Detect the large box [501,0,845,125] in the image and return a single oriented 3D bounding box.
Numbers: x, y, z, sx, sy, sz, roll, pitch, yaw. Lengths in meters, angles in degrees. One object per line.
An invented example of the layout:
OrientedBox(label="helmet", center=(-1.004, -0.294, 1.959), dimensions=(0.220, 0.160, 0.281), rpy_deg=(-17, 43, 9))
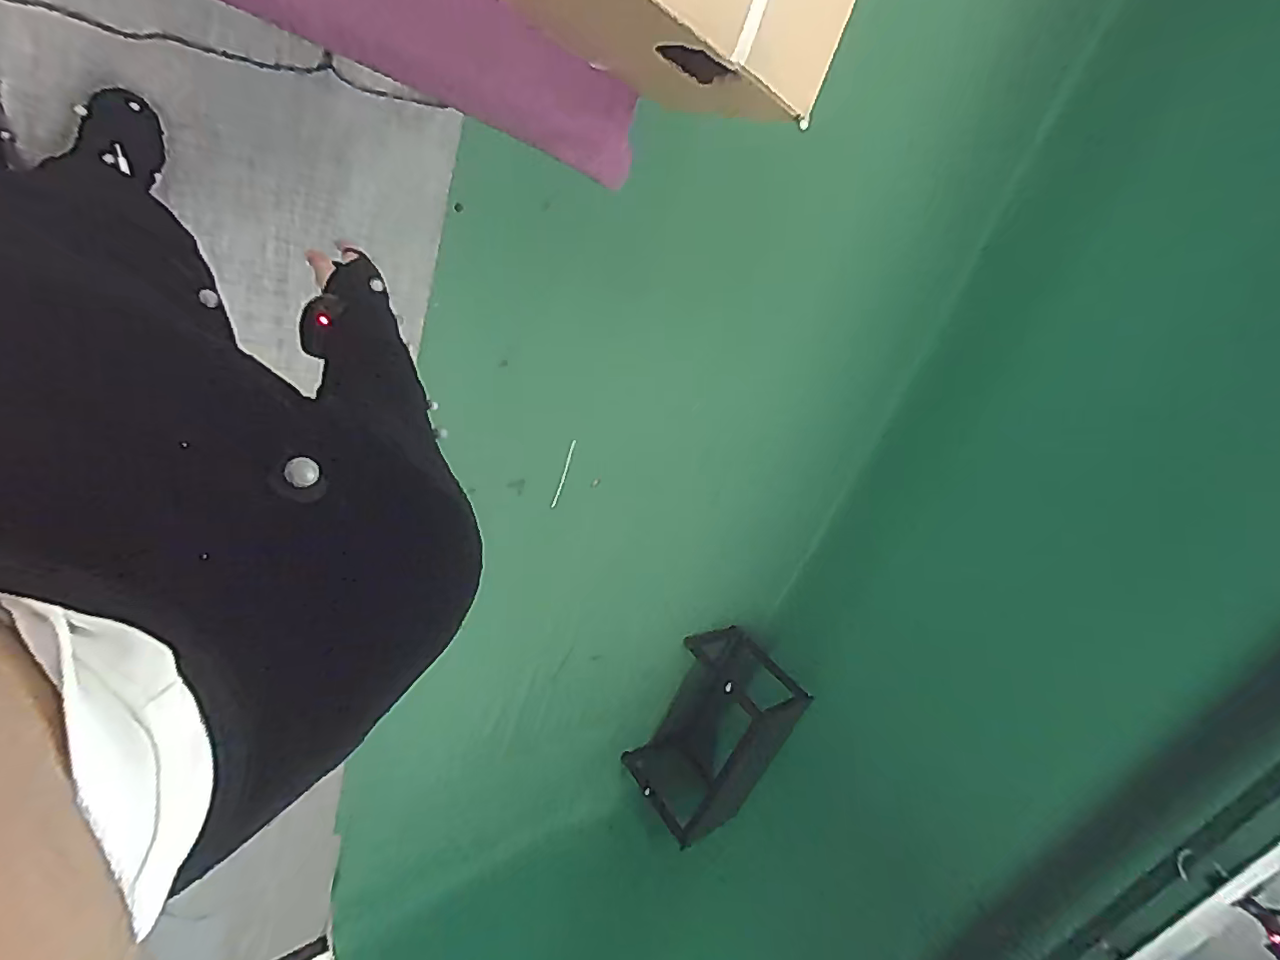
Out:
OrientedBox(label="large box", center=(0.075, -0.720, 0.640), dimensions=(0.320, 0.320, 0.408), rpy_deg=(0, 121, -42))
